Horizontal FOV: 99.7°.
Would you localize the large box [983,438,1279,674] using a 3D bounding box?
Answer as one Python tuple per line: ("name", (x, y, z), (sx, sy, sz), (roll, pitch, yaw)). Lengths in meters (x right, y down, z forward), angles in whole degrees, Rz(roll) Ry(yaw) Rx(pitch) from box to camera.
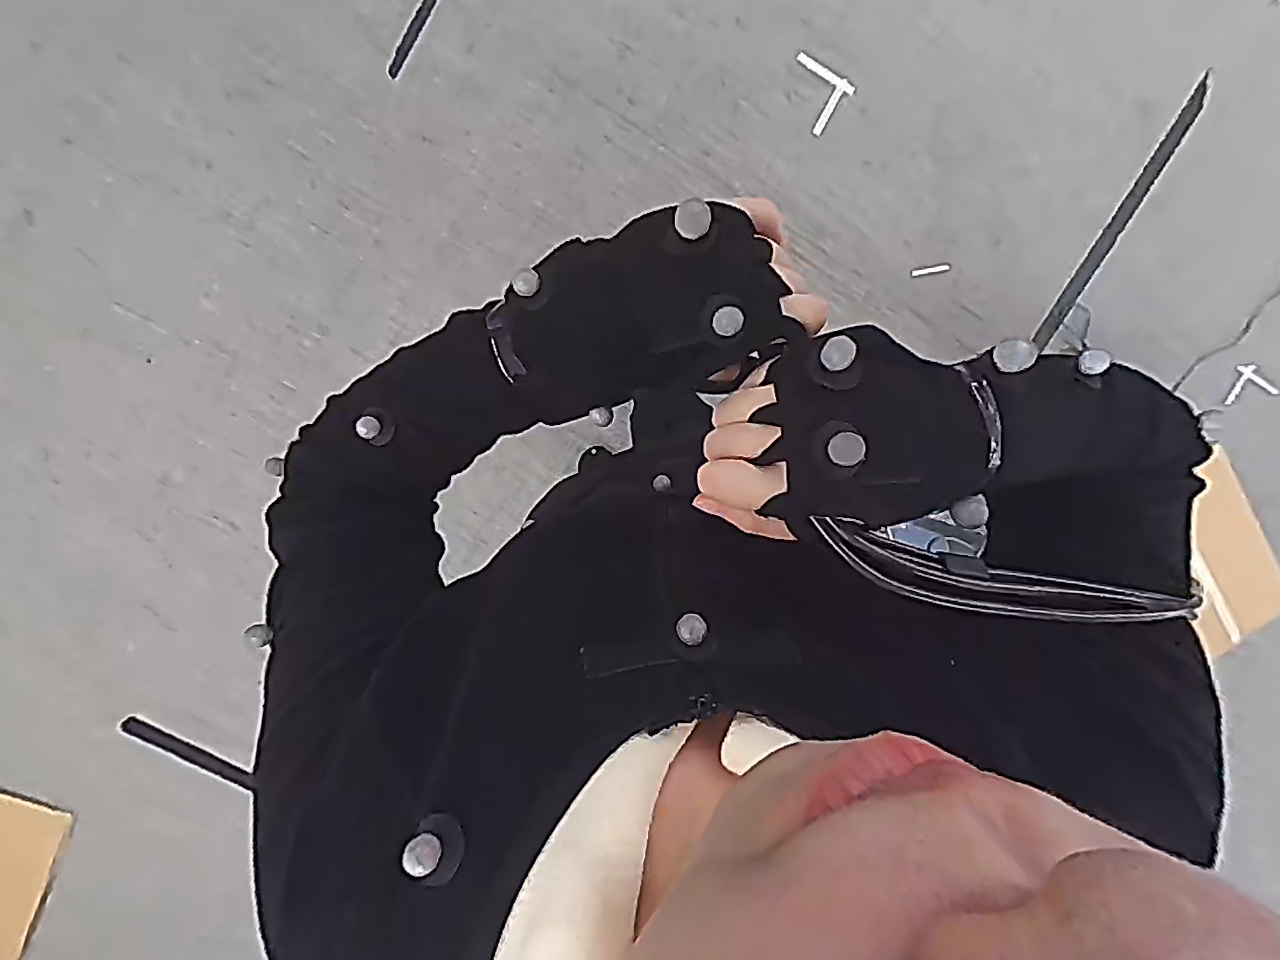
("large box", (1.111, 0.149, 1.260), (0.320, 0.320, 0.408), (-32, 98, 0))
